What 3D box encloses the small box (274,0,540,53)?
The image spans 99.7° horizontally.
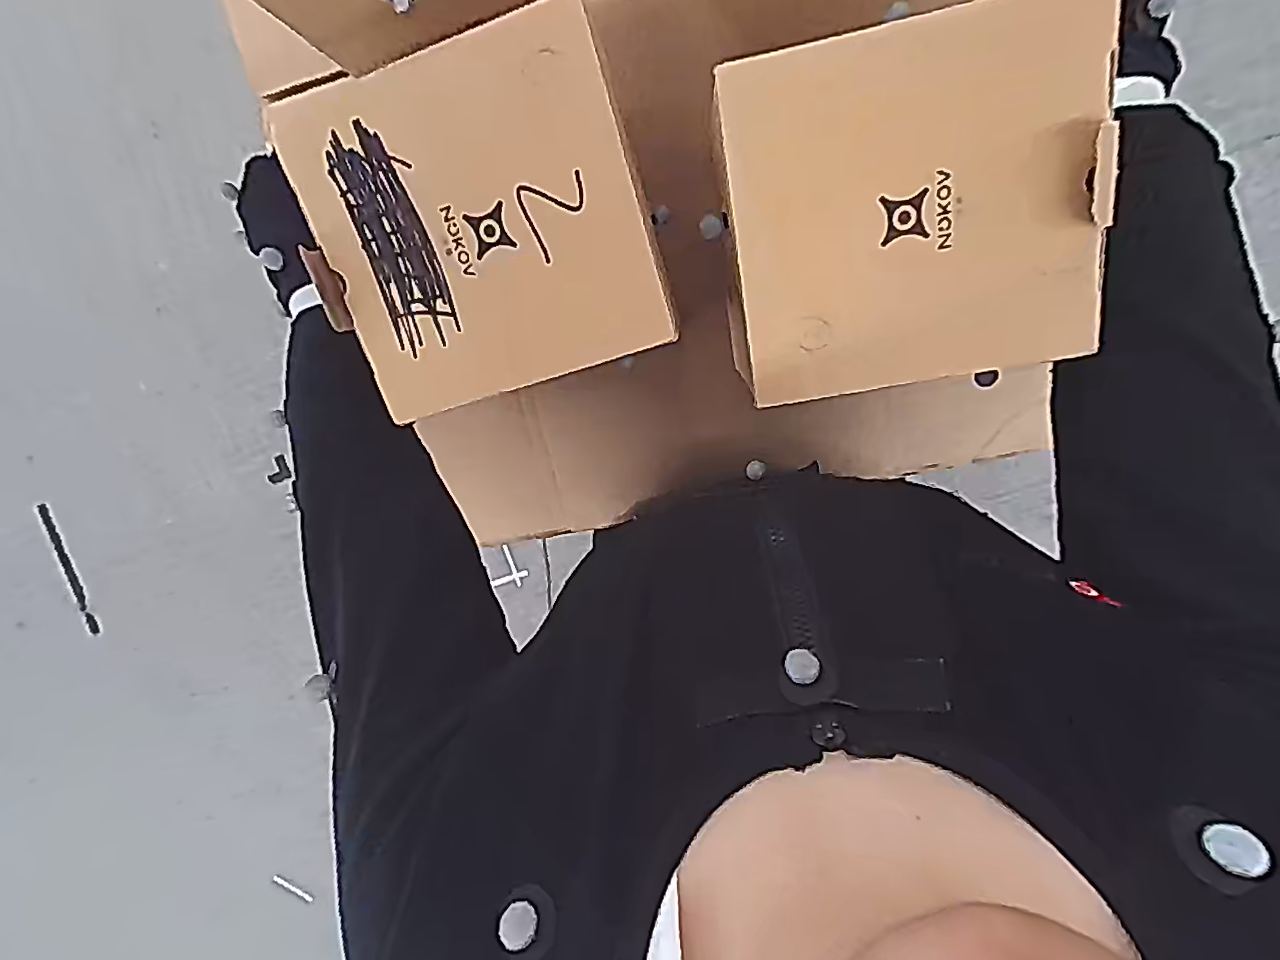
[{"bbox_3d":[-0.165,-0.388,0.308,0.168,0.176,0.179,-12,103,9],"label":"small box"}]
